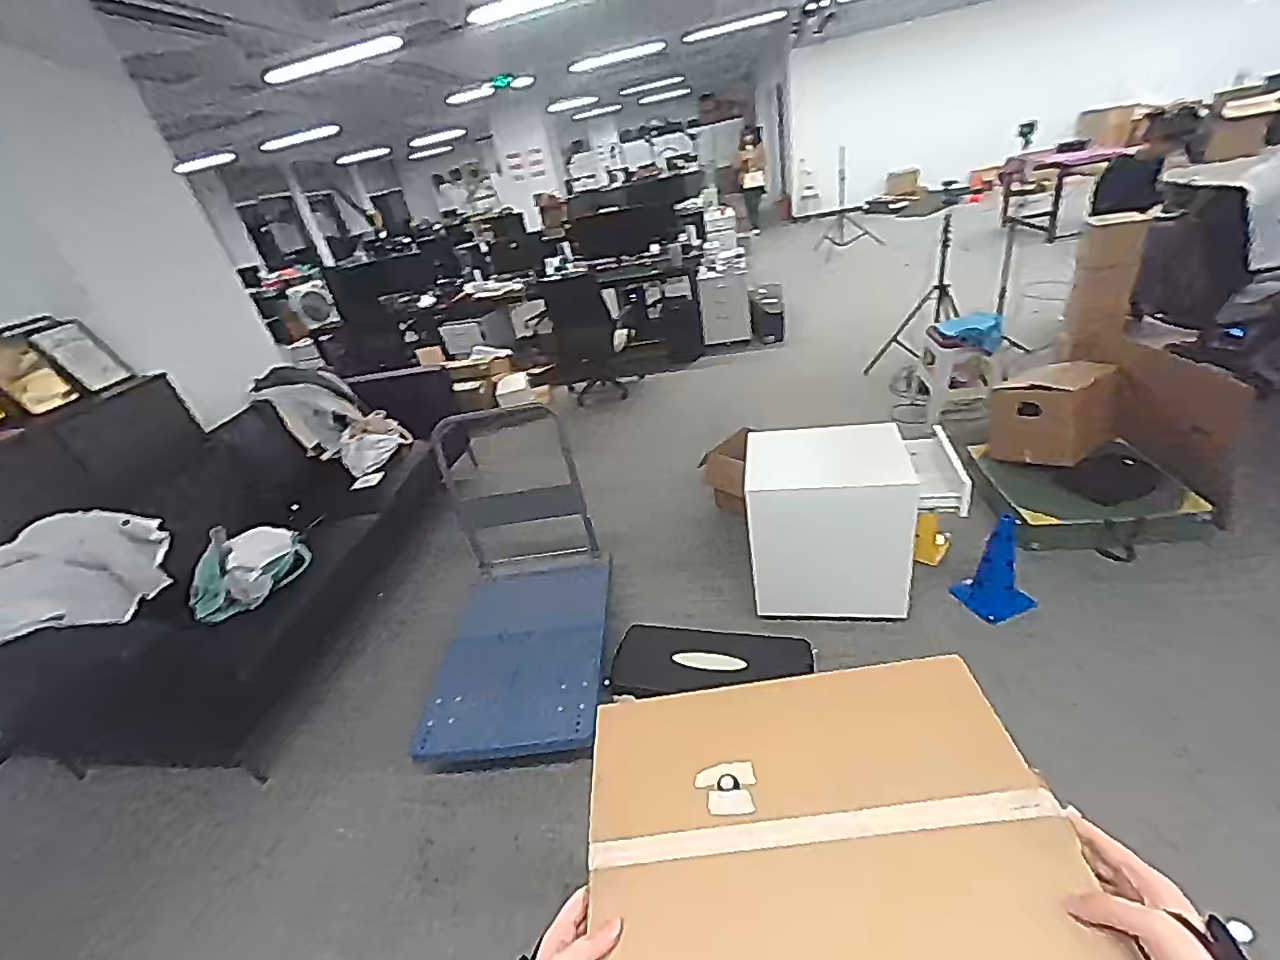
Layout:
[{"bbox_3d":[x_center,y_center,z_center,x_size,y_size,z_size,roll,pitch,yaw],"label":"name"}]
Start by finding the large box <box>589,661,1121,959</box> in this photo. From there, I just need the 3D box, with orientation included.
[{"bbox_3d":[0.184,0.444,0.570,0.408,0.320,0.320,-12,33,7],"label":"large box"}]
